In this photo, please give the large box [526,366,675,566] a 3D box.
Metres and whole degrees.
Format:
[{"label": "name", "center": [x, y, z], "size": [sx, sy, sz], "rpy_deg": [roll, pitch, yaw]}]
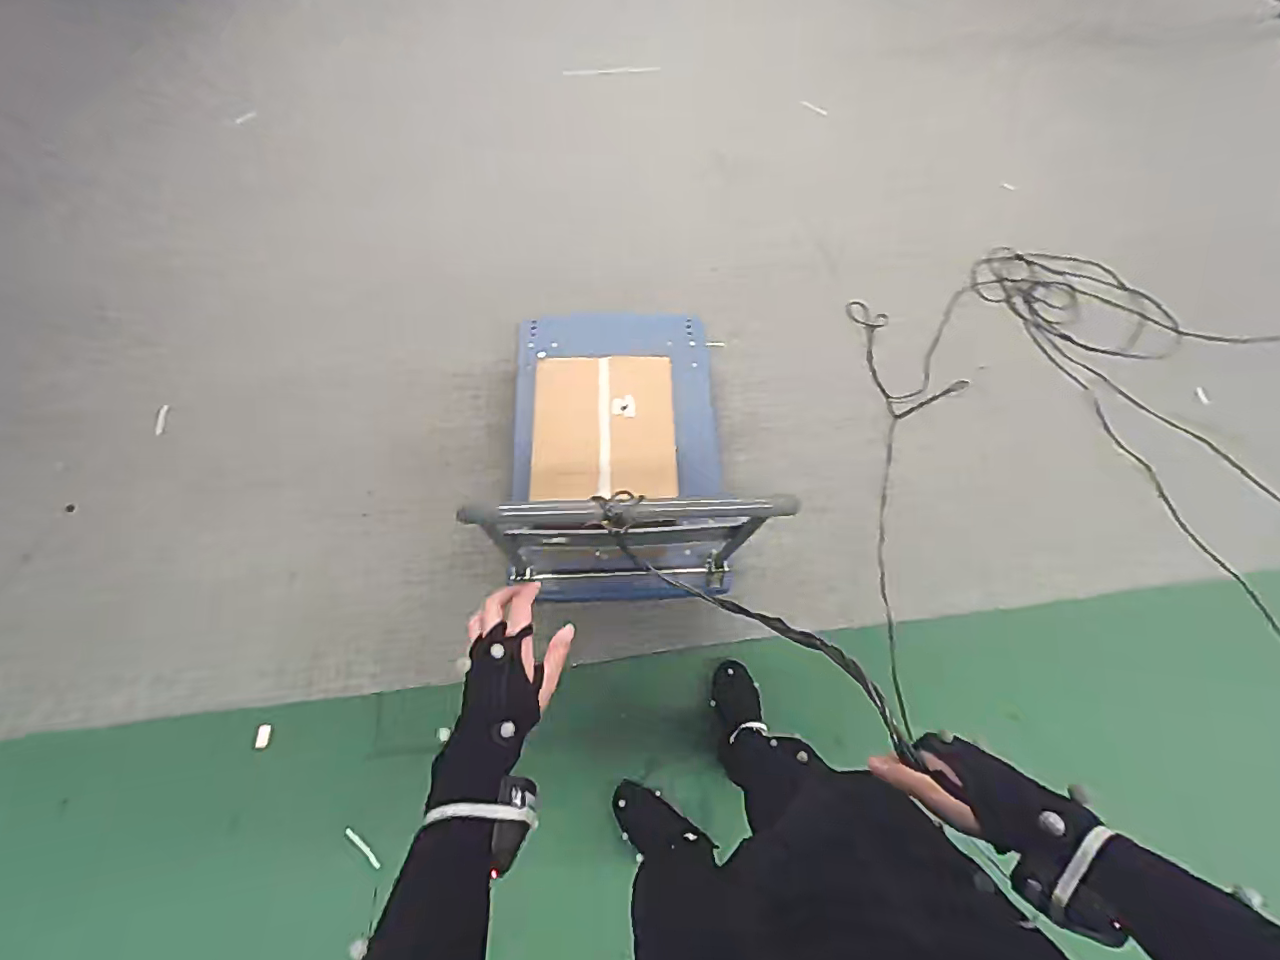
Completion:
[{"label": "large box", "center": [-0.094, -0.024, 1.330], "size": [0.320, 0.320, 0.408], "rpy_deg": [0, 66, -4]}]
